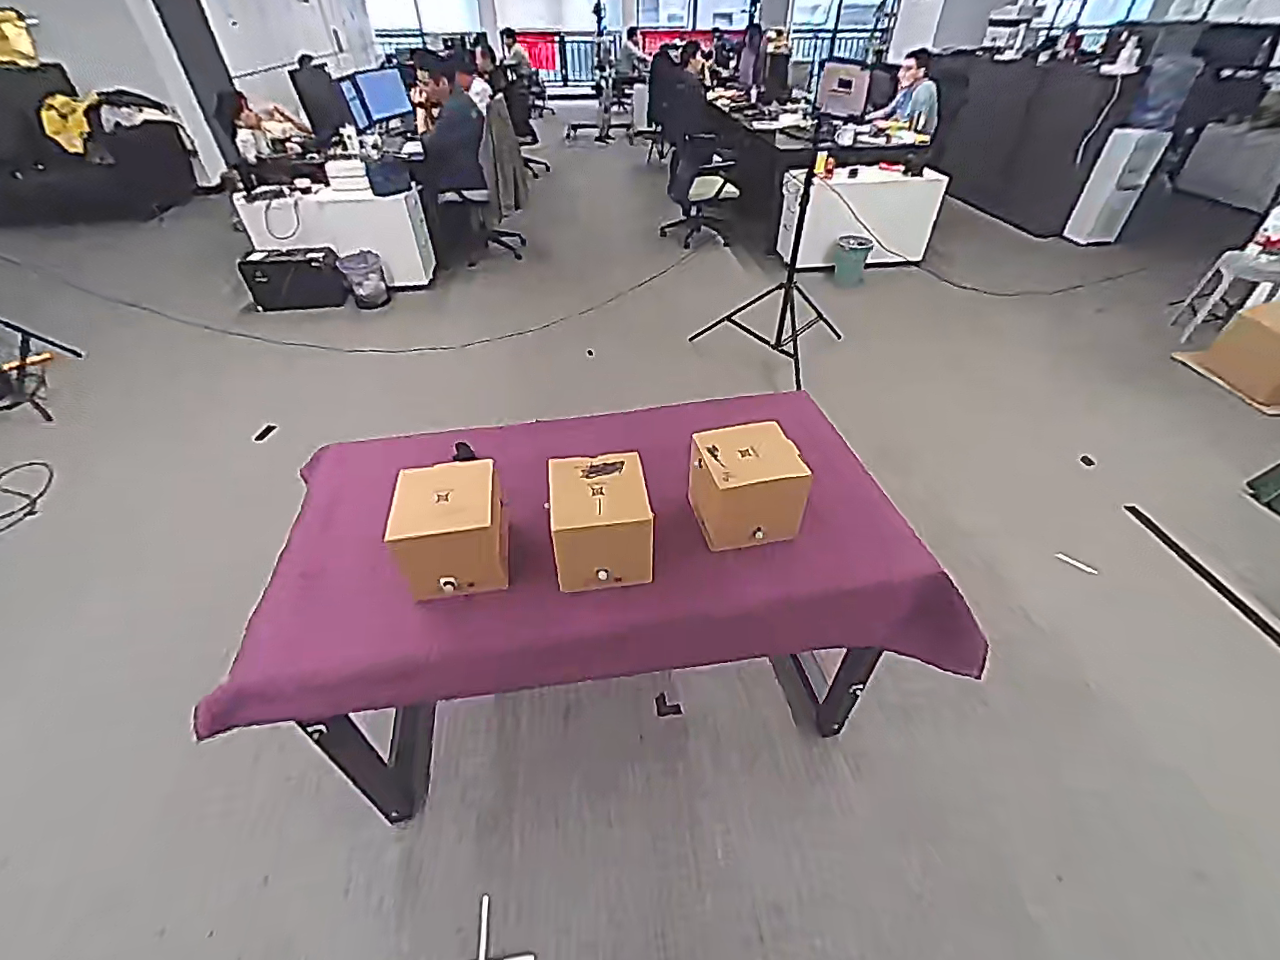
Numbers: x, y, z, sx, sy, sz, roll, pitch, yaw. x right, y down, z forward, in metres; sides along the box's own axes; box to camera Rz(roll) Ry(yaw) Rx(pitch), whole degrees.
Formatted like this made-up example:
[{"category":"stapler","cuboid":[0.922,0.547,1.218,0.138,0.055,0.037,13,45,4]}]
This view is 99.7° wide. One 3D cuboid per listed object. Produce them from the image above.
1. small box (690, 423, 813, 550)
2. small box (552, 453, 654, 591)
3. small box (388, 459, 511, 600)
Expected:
[{"category":"small box","cuboid":[0.204,0.013,1.044,0.179,0.176,0.168,-8,41,-9]},{"category":"small box","cuboid":[-0.070,0.075,0.976,0.168,0.176,0.179,-6,42,-5]},{"category":"small box","cuboid":[-0.328,0.087,0.967,0.168,0.176,0.179,-8,42,-7]}]
